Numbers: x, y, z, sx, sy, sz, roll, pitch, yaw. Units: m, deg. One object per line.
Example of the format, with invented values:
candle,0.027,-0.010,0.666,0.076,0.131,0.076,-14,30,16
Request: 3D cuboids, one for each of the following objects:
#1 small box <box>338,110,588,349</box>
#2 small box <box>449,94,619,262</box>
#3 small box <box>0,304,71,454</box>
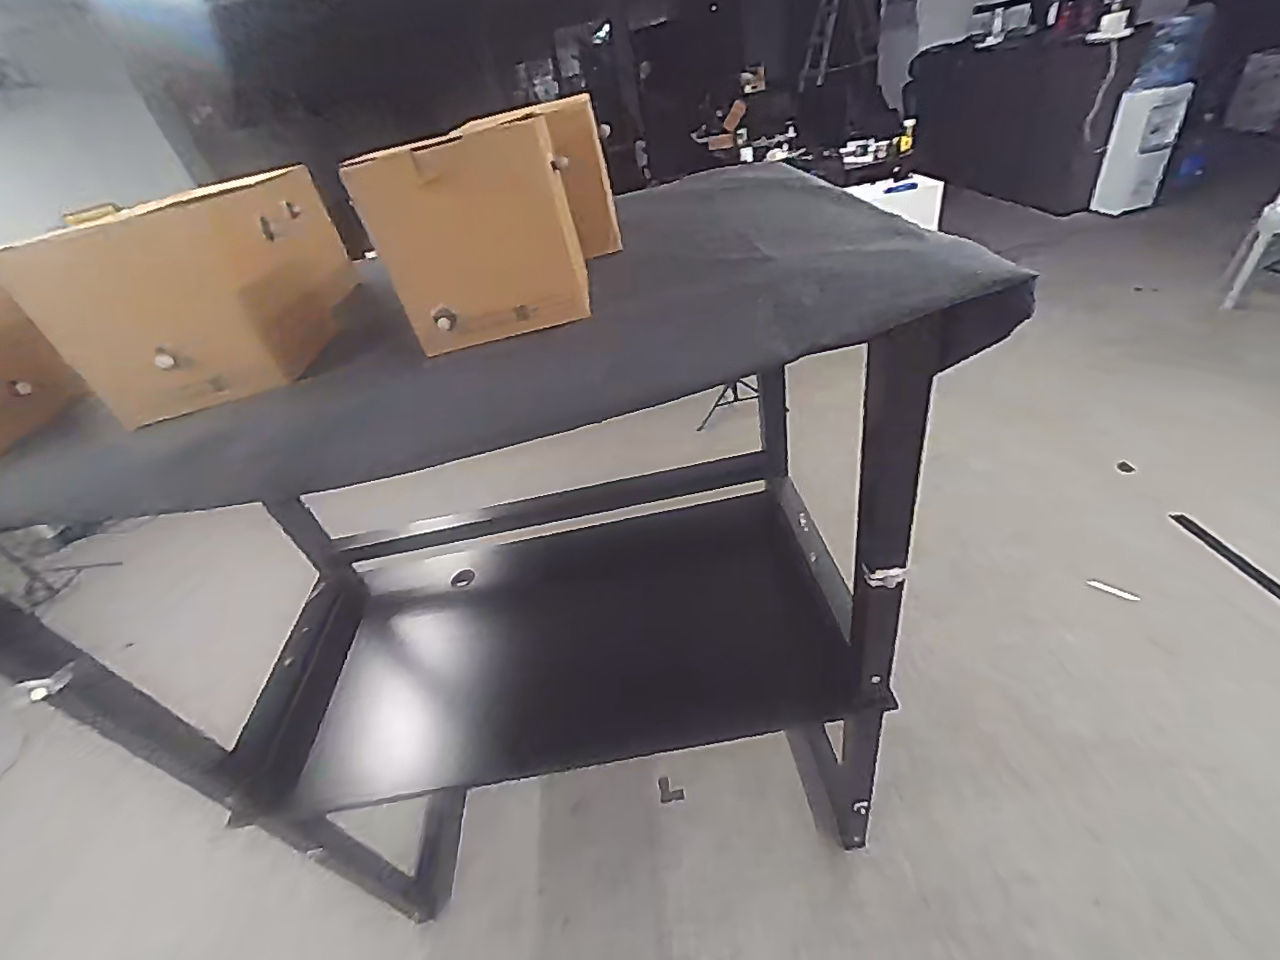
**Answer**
small box,-0.151,-0.244,0.535,0.168,0.176,0.179,-13,36,2
small box,-0.126,-0.387,0.713,0.168,0.176,0.179,-12,39,3
small box,-0.756,-0.099,0.545,0.168,0.176,0.179,-17,38,-3
